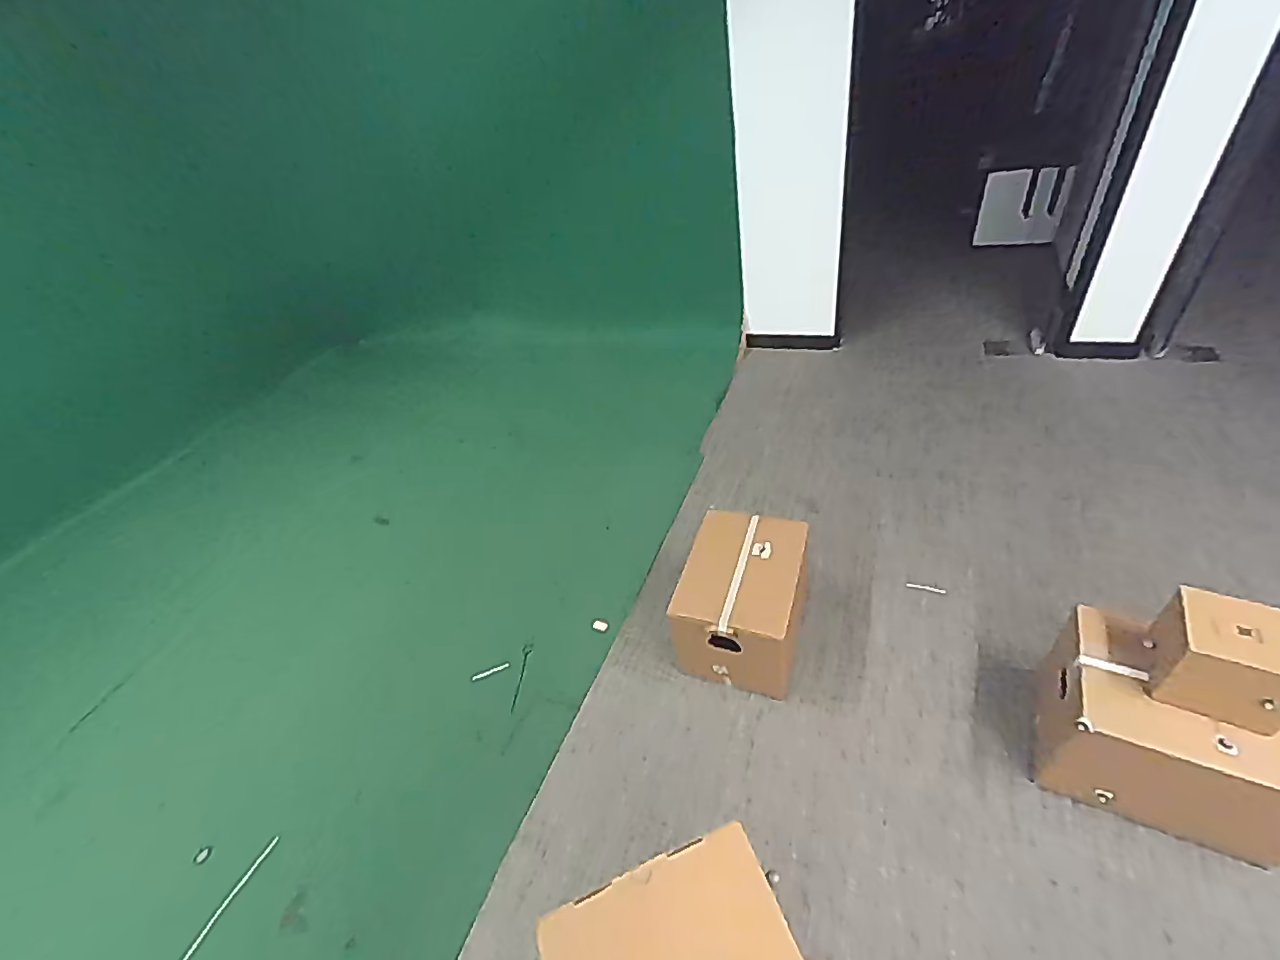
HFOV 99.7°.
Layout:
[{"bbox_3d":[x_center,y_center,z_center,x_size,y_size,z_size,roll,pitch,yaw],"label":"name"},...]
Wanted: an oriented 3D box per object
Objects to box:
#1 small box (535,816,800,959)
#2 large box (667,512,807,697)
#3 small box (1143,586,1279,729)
[{"bbox_3d":[0.039,0.393,0.400,0.168,0.176,0.179,-20,44,-10],"label":"small box"},{"bbox_3d":[0.306,0.357,1.596,0.320,0.320,0.408,7,44,23],"label":"large box"},{"bbox_3d":[1.106,0.339,1.026,0.179,0.176,0.168,15,45,29],"label":"small box"}]
